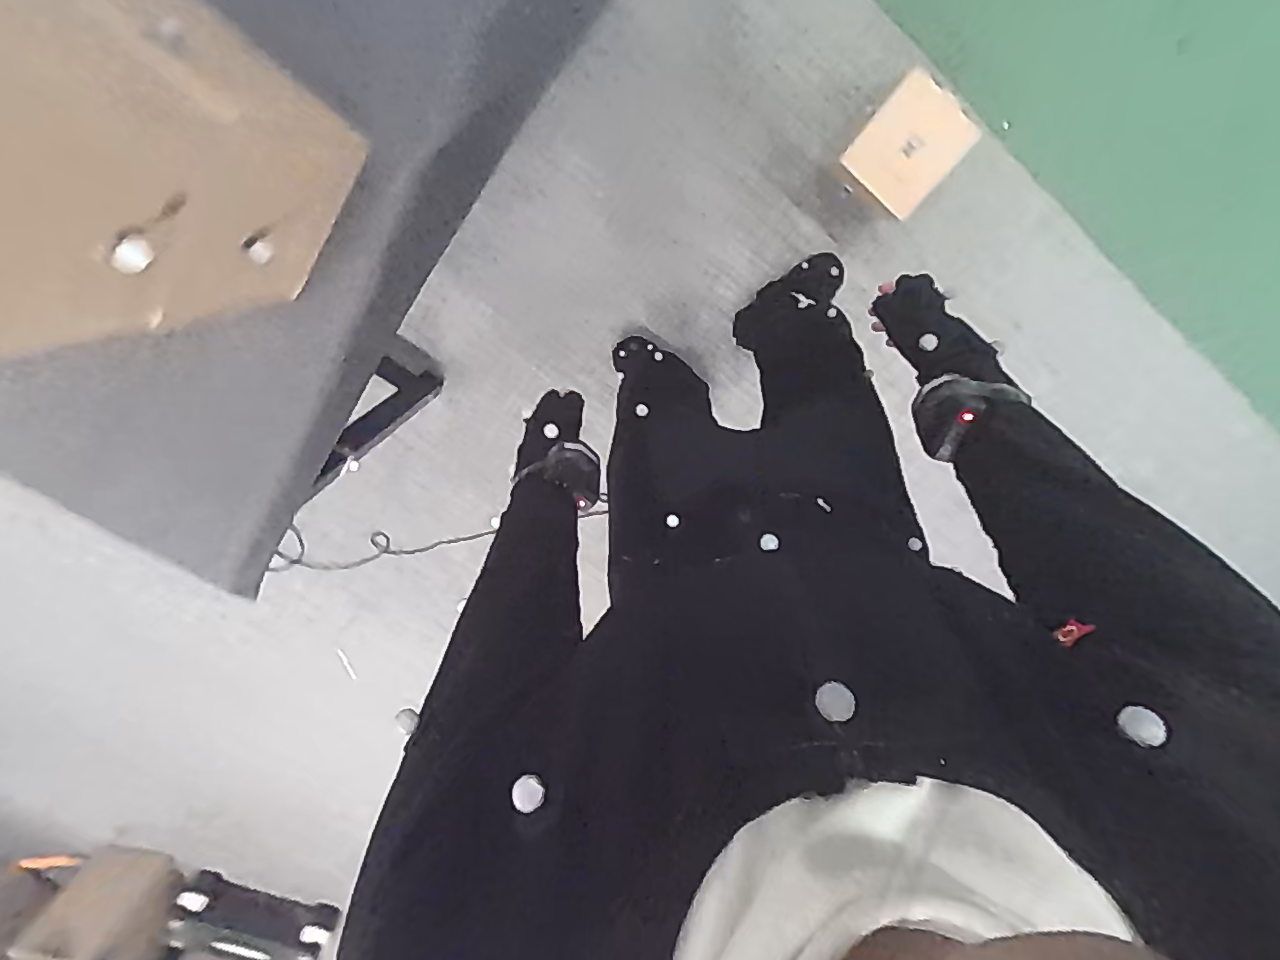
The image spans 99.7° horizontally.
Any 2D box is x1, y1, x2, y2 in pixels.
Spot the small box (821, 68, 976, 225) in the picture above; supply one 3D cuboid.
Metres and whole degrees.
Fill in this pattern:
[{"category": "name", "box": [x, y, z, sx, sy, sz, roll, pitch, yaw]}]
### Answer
[{"category": "small box", "box": [0.465, -0.609, 1.006, 0.168, 0.176, 0.179, 37, 115, -13]}]
